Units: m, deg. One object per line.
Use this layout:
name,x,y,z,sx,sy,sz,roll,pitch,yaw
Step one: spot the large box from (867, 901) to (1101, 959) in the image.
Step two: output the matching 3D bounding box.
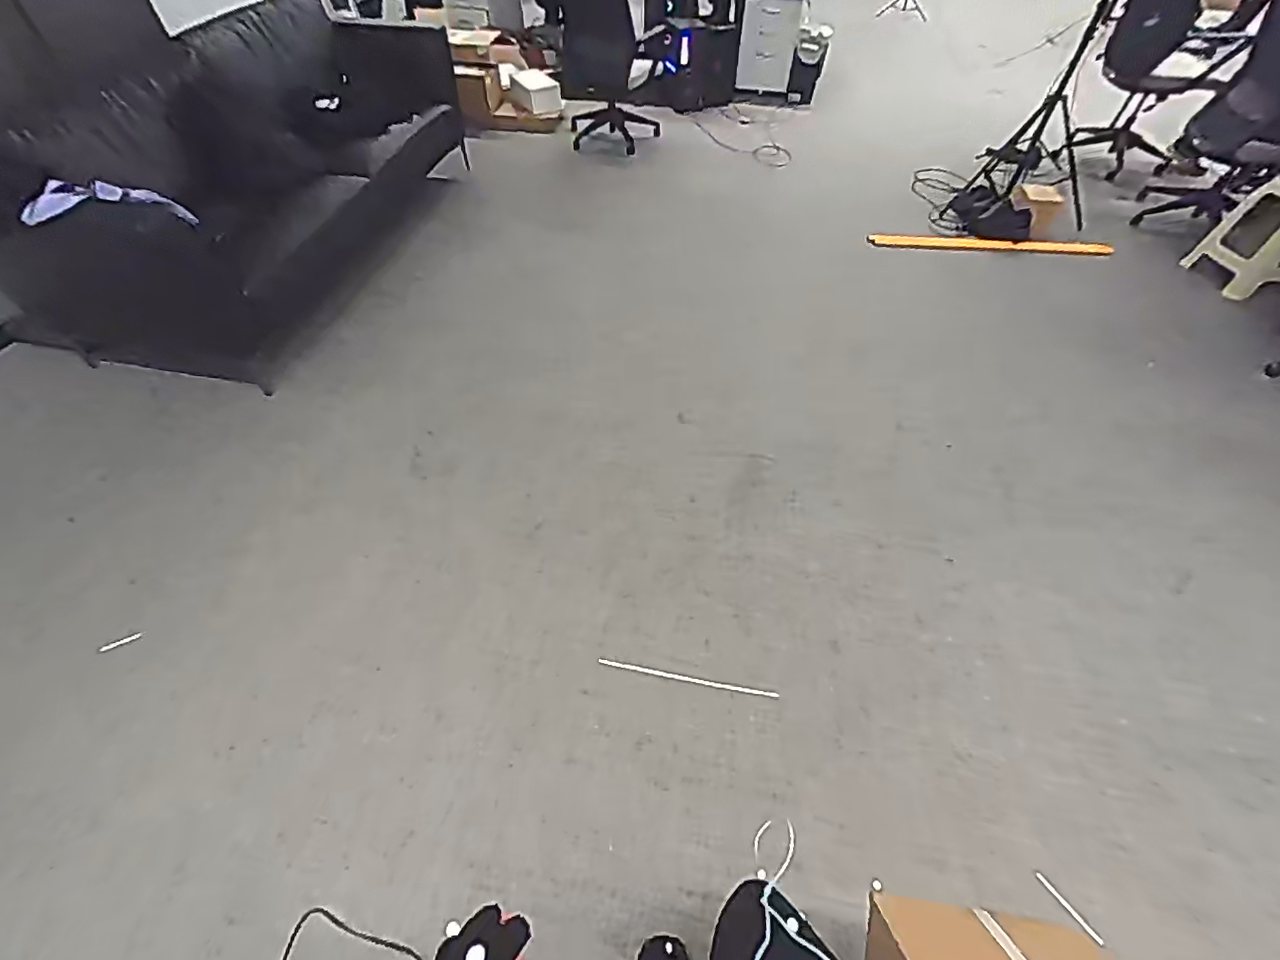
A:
large box,0.475,0.793,0.608,0.320,0.408,0.320,8,86,4
